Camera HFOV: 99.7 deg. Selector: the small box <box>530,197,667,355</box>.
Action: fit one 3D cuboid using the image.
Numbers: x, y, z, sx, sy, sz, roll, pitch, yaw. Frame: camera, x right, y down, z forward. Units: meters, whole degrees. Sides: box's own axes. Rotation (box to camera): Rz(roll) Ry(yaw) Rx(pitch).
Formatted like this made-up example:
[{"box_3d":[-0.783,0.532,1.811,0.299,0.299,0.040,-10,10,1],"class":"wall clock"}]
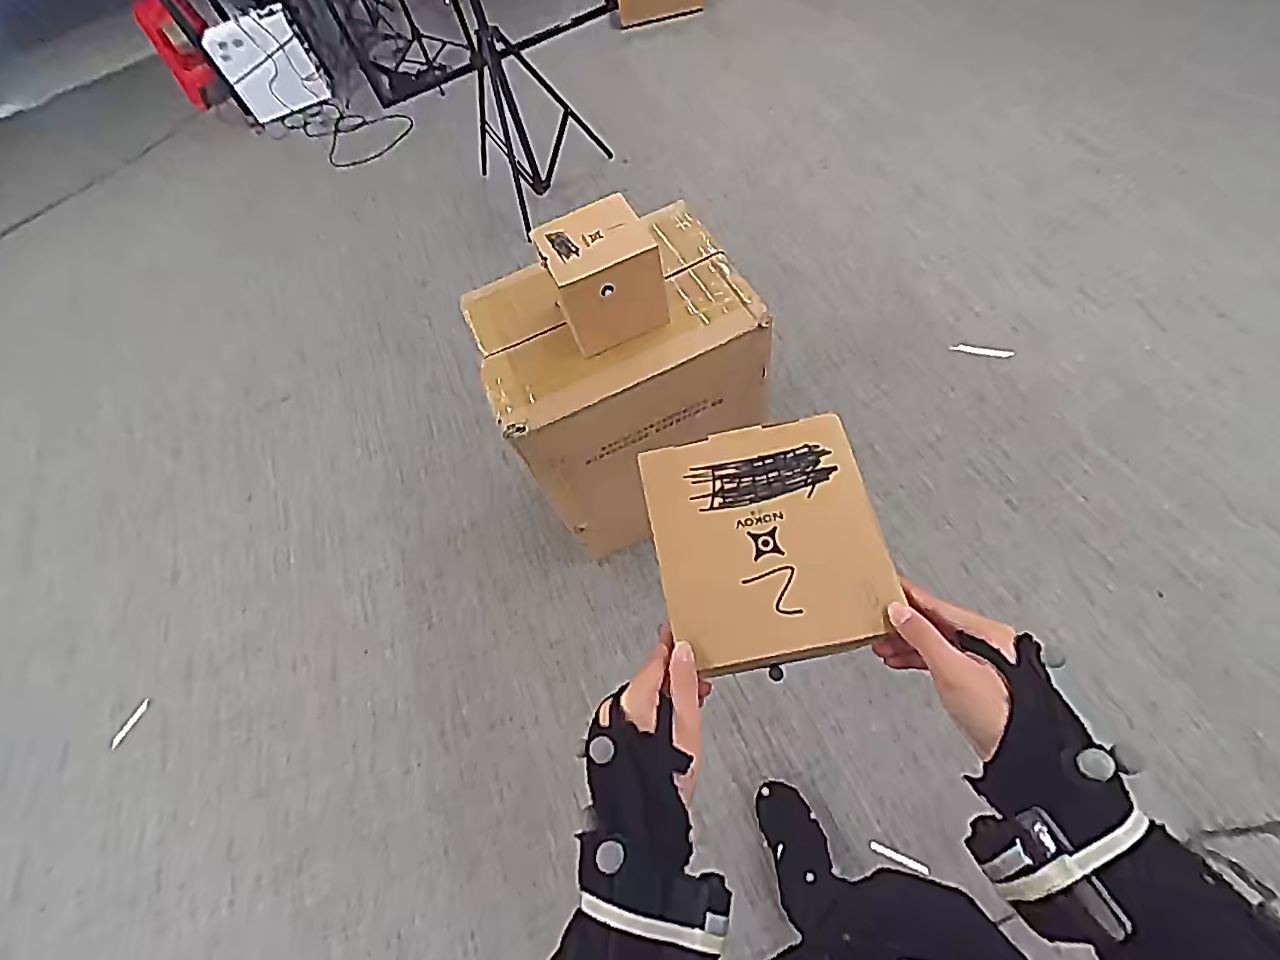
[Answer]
[{"box_3d":[-0.068,-0.355,0.961,0.179,0.176,0.168,-25,60,-3],"class":"small box"}]
